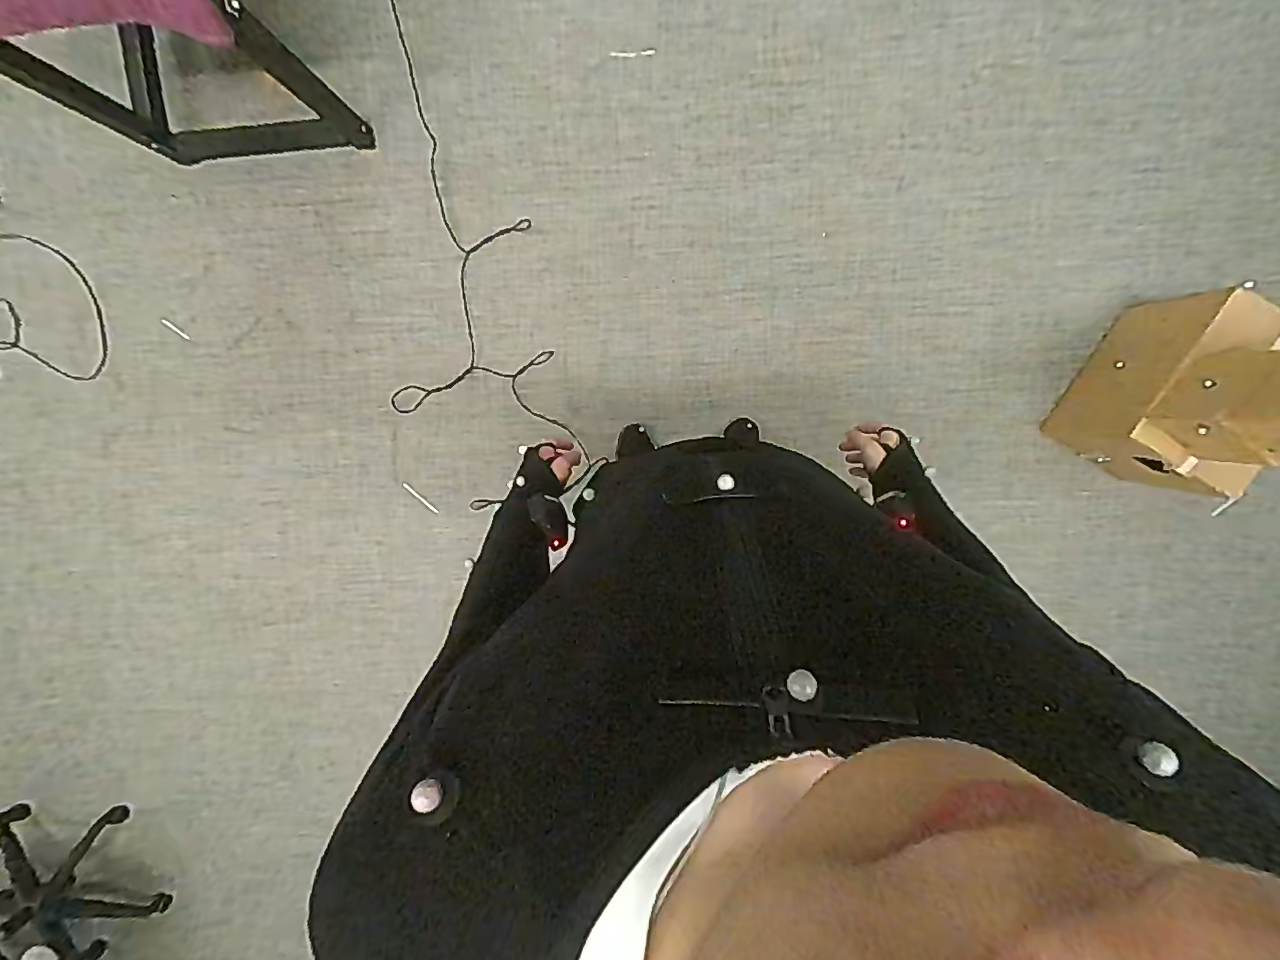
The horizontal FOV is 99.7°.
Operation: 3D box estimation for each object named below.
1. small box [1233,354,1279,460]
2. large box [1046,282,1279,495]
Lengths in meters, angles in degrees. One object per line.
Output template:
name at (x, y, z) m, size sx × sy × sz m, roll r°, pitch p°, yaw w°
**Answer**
small box at (1.286, -0.134, 1.003) m, size 0.168 × 0.176 × 0.179 m, roll 33°, pitch 97°, yaw -2°
large box at (1.386, -0.224, 1.398) m, size 0.320 × 0.320 × 0.408 m, roll 29°, pitch 98°, yaw -3°
